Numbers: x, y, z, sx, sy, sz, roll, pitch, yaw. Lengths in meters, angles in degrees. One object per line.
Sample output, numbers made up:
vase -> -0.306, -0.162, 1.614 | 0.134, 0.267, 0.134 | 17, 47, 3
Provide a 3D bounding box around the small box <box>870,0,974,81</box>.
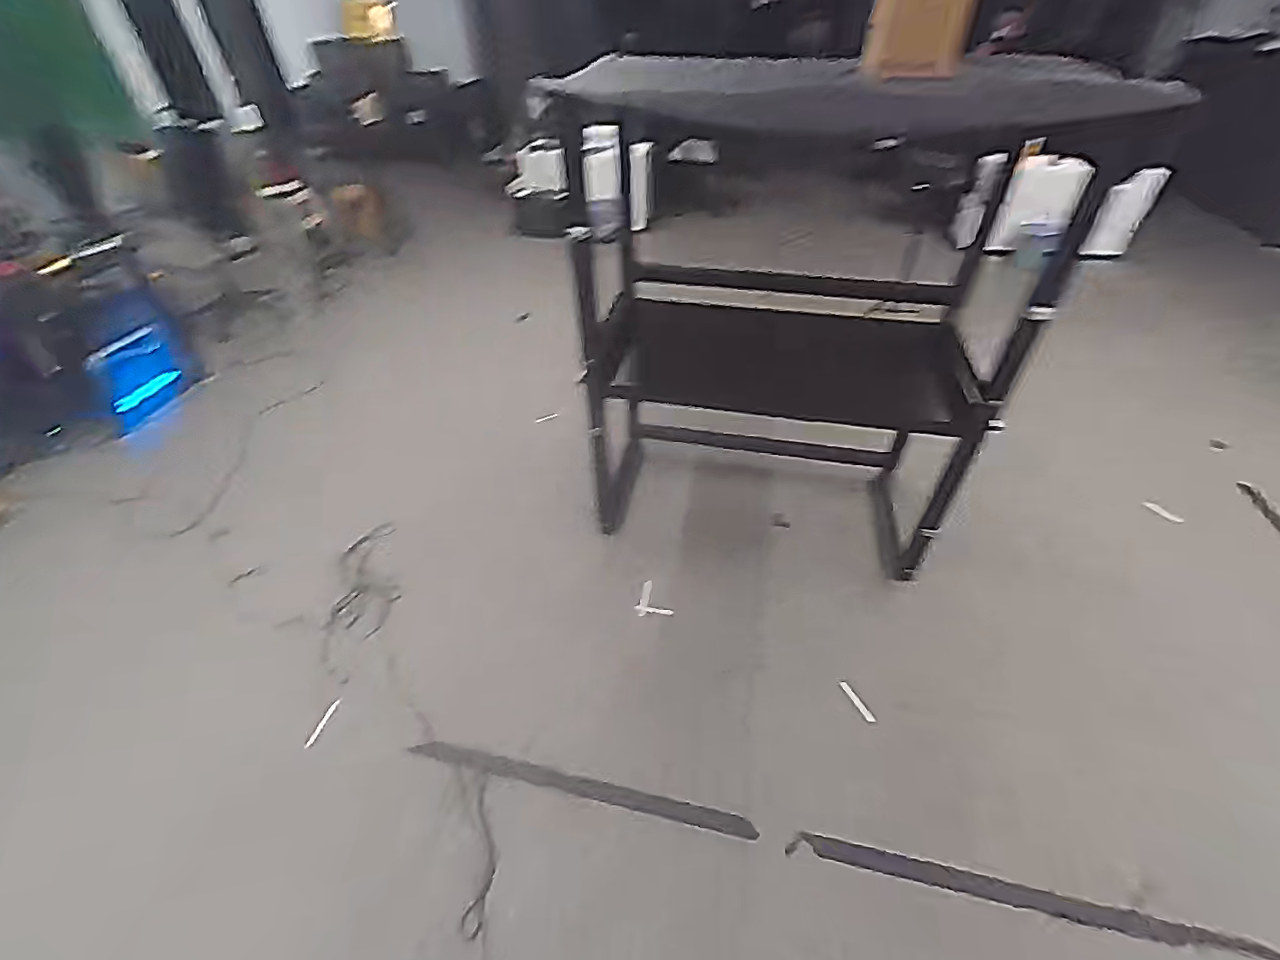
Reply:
small box -> 0.638, -1.023, 1.234 | 0.168, 0.176, 0.179 | 6, 43, 8
